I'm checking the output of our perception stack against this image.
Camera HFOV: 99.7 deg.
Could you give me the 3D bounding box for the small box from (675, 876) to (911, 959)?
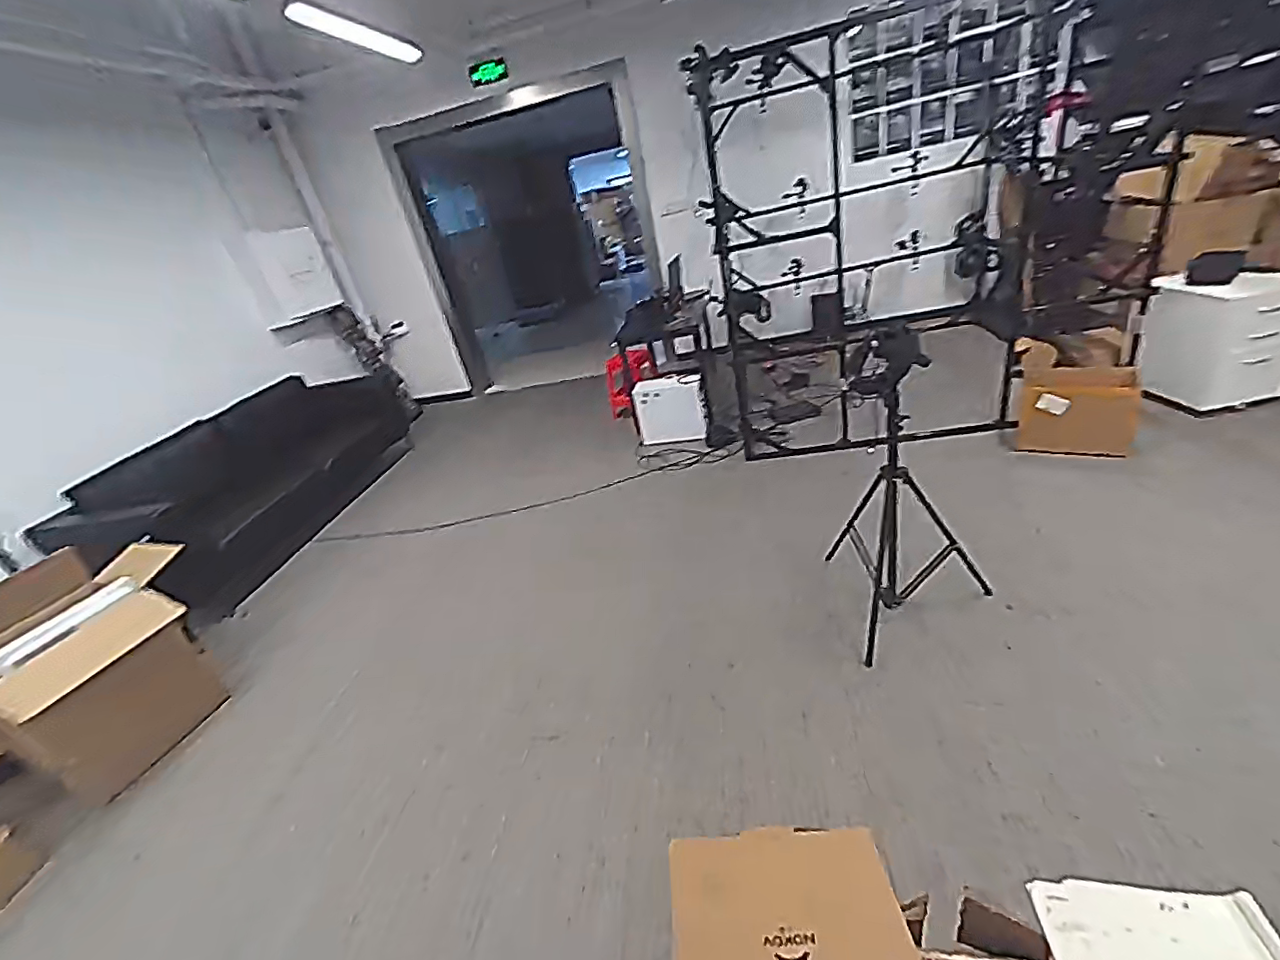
[{"bbox_3d":[0.115,0.426,0.380,0.168,0.176,0.179,-6,23,2],"label":"small box"}]
